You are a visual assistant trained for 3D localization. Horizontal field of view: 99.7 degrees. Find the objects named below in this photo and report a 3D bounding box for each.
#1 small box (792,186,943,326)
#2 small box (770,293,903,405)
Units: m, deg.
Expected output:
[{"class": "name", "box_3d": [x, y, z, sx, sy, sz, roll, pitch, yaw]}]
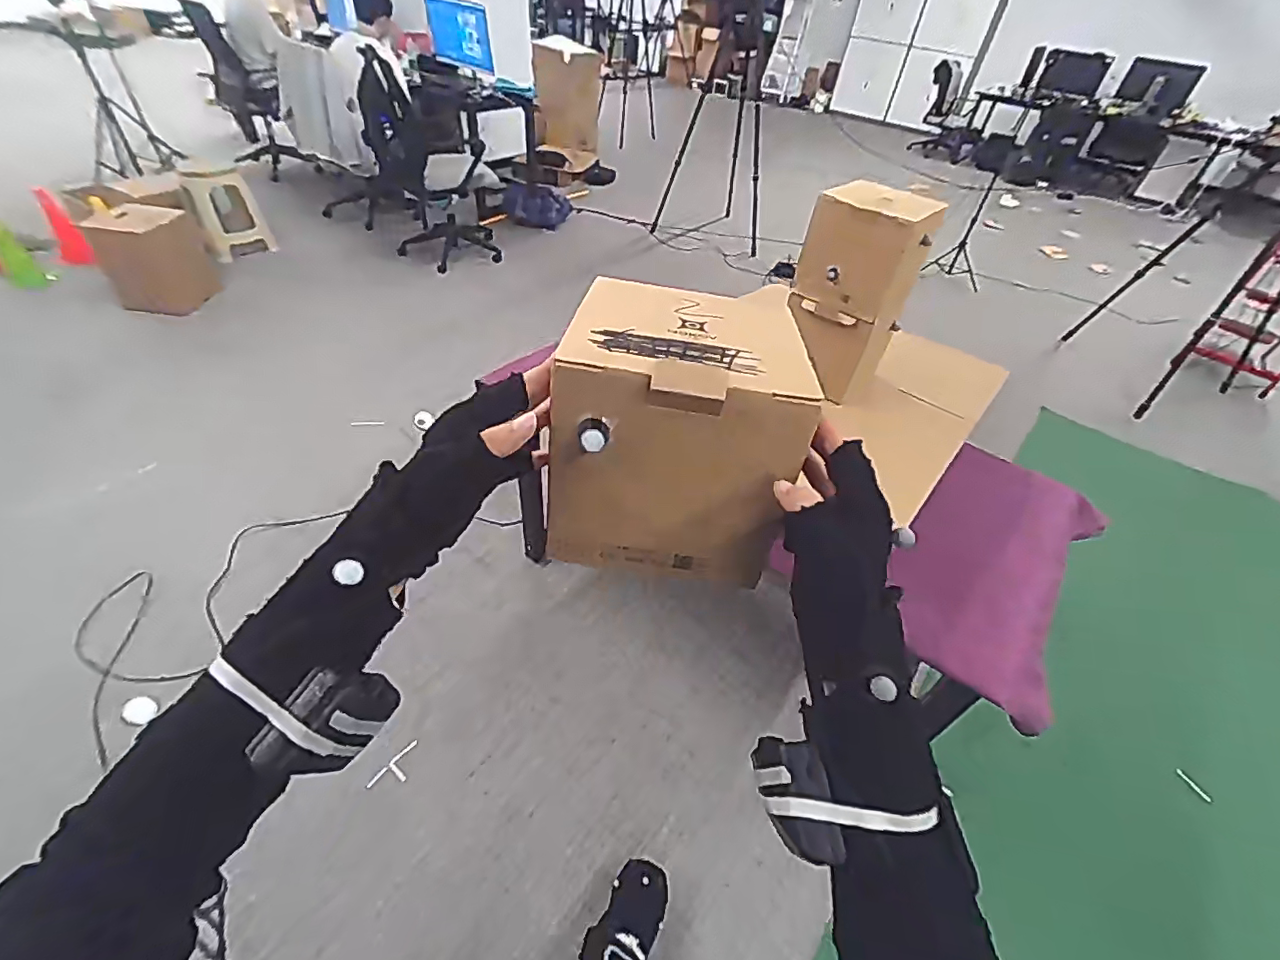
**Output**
[{"class": "small box", "box_3d": [0.394, -0.398, 0.957, 0.168, 0.176, 0.179, 33, 48, 25]}, {"class": "small box", "box_3d": [0.379, -0.277, 1.066, 0.168, 0.176, 0.179, 32, 48, 26]}]
